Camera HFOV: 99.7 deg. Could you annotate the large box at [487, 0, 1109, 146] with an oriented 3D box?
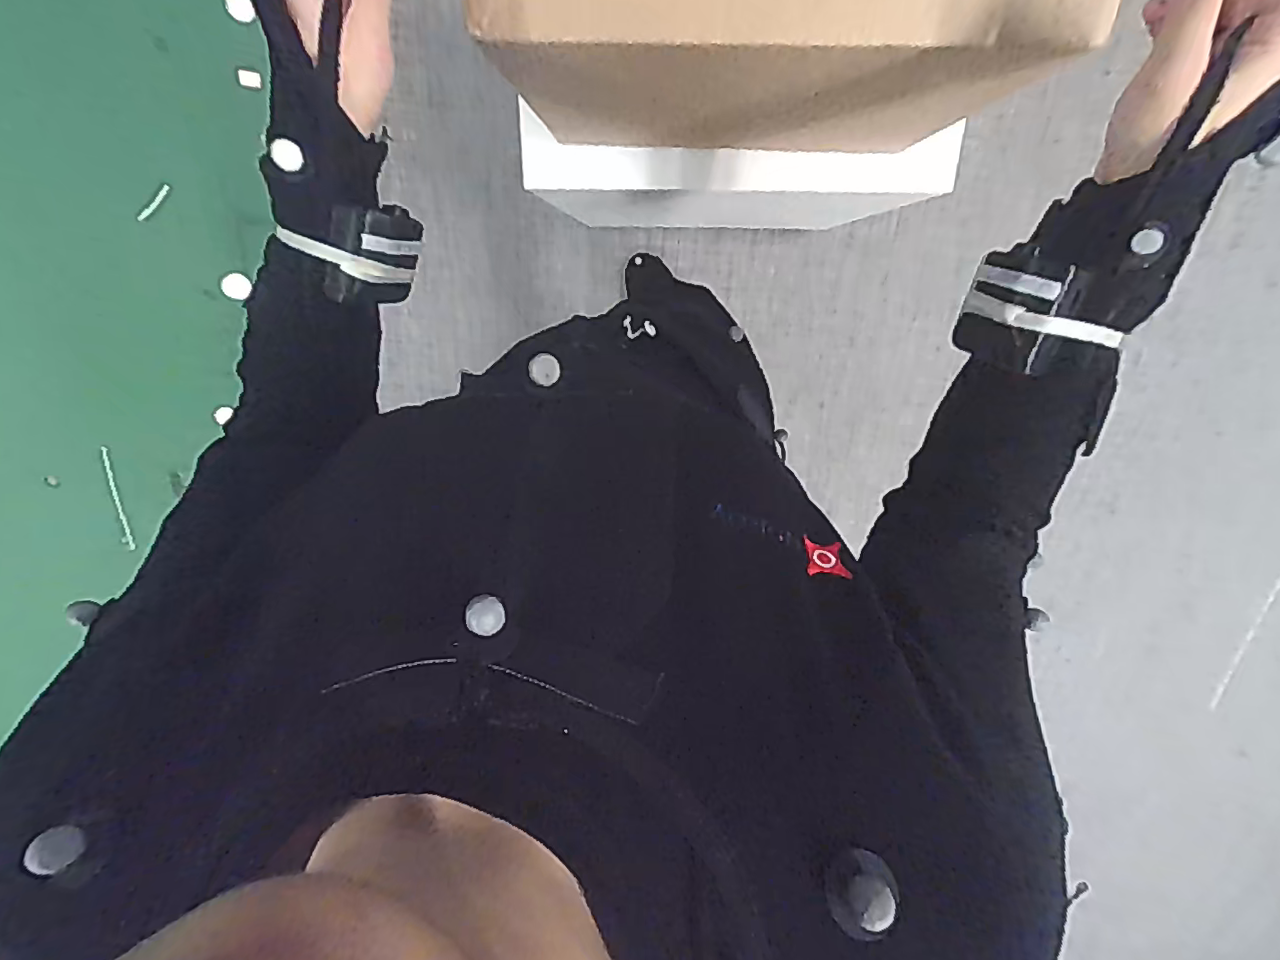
[{"bbox_3d":[0.101,-0.481,0.437,0.408,0.320,0.320,2,112,1],"label":"large box"}]
